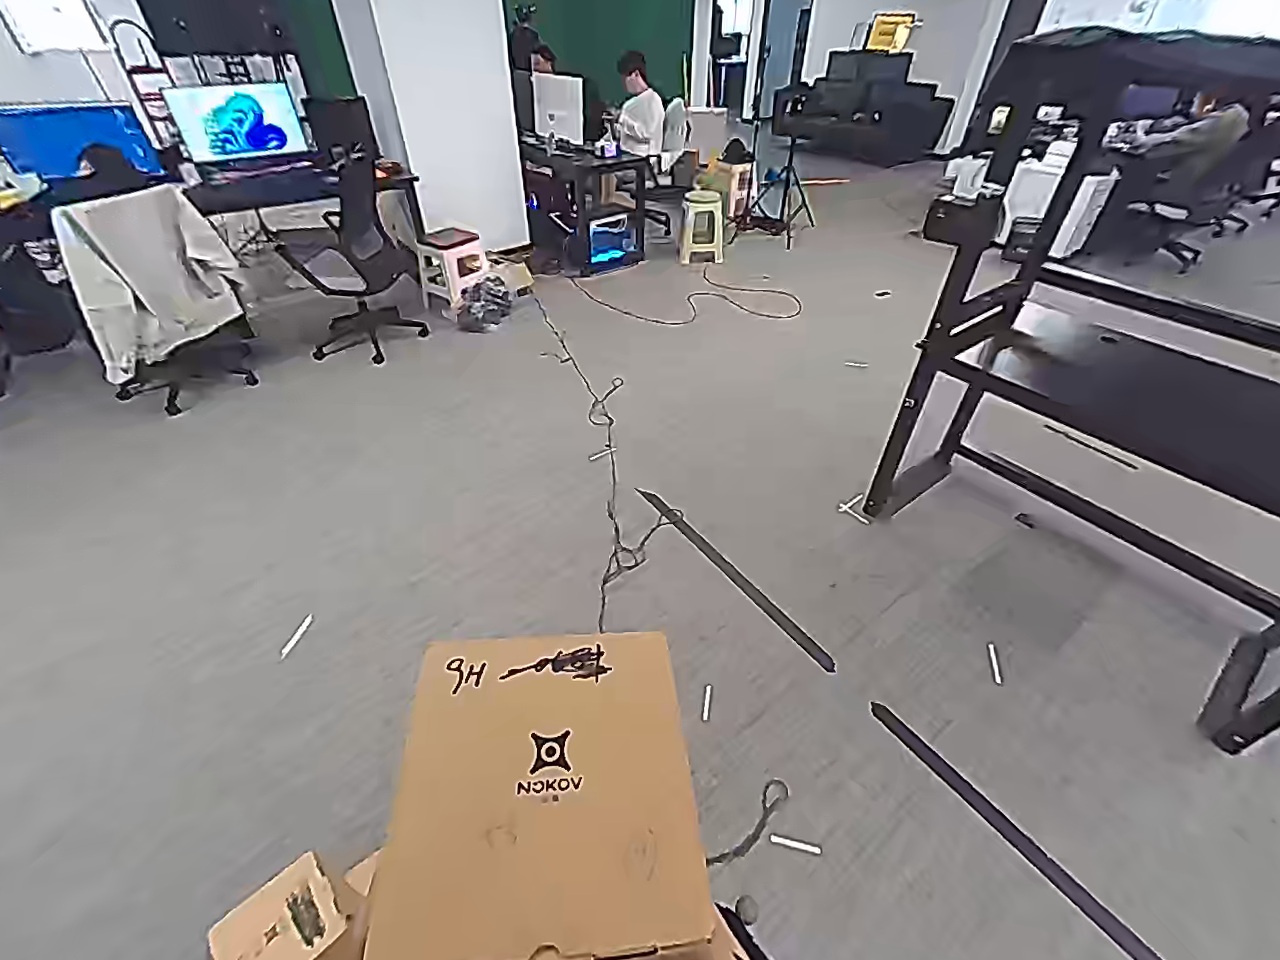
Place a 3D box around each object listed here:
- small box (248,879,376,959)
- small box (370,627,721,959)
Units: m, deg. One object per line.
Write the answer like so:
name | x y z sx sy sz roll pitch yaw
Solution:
small box | -0.622 0.948 1.067 0.179 0.176 0.168 -31 50 -30
small box | -0.054 0.221 0.361 0.168 0.176 0.179 0 42 -8
